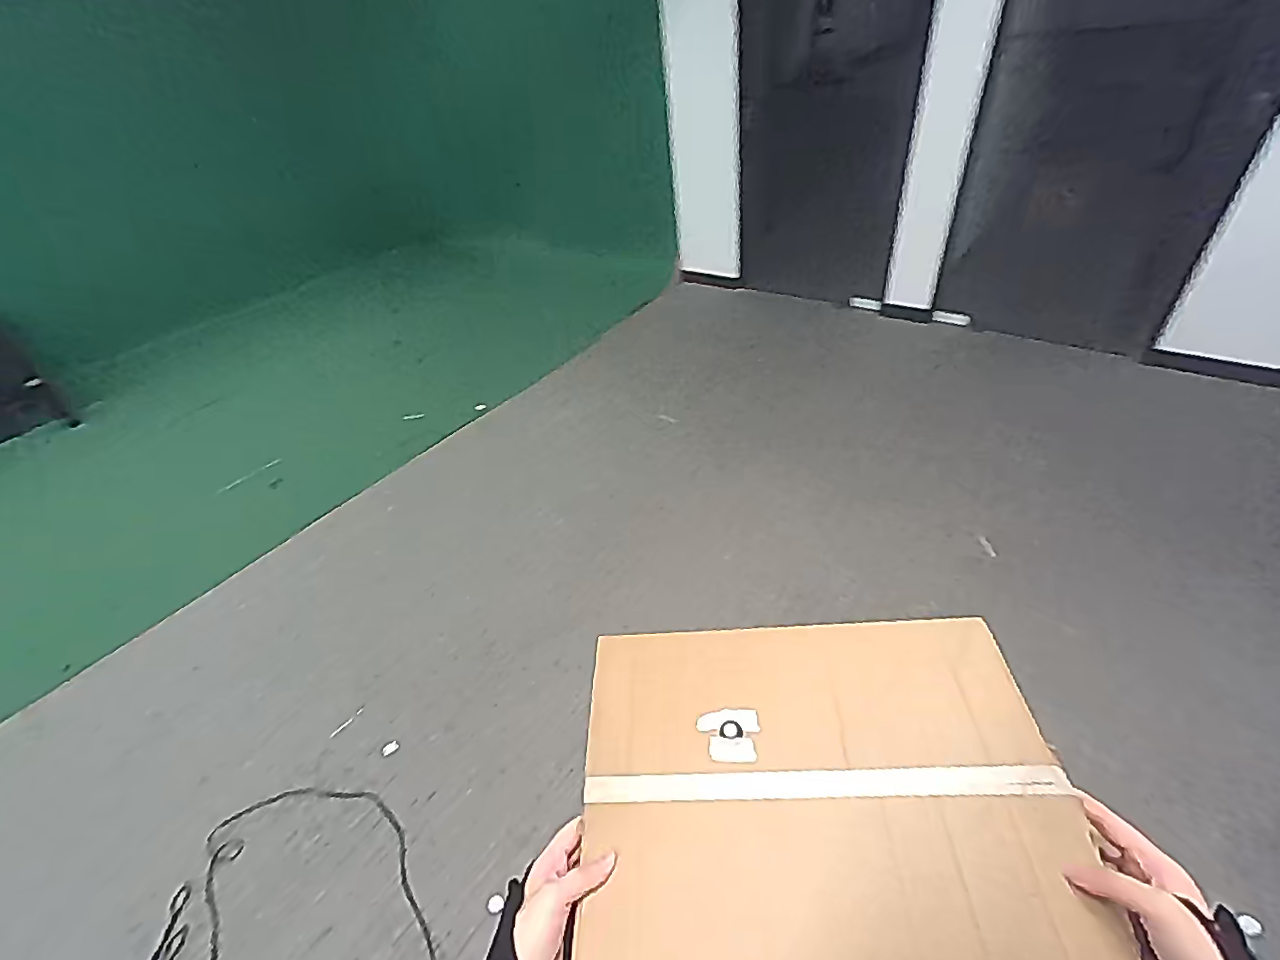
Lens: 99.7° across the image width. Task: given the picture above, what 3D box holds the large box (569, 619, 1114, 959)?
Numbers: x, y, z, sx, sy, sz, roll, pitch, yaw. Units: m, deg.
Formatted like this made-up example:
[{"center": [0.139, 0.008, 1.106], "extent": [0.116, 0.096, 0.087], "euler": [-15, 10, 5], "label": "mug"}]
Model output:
[{"center": [0.165, 0.380, 0.588], "extent": [0.408, 0.320, 0.320], "euler": [-7, 45, 7], "label": "large box"}]
